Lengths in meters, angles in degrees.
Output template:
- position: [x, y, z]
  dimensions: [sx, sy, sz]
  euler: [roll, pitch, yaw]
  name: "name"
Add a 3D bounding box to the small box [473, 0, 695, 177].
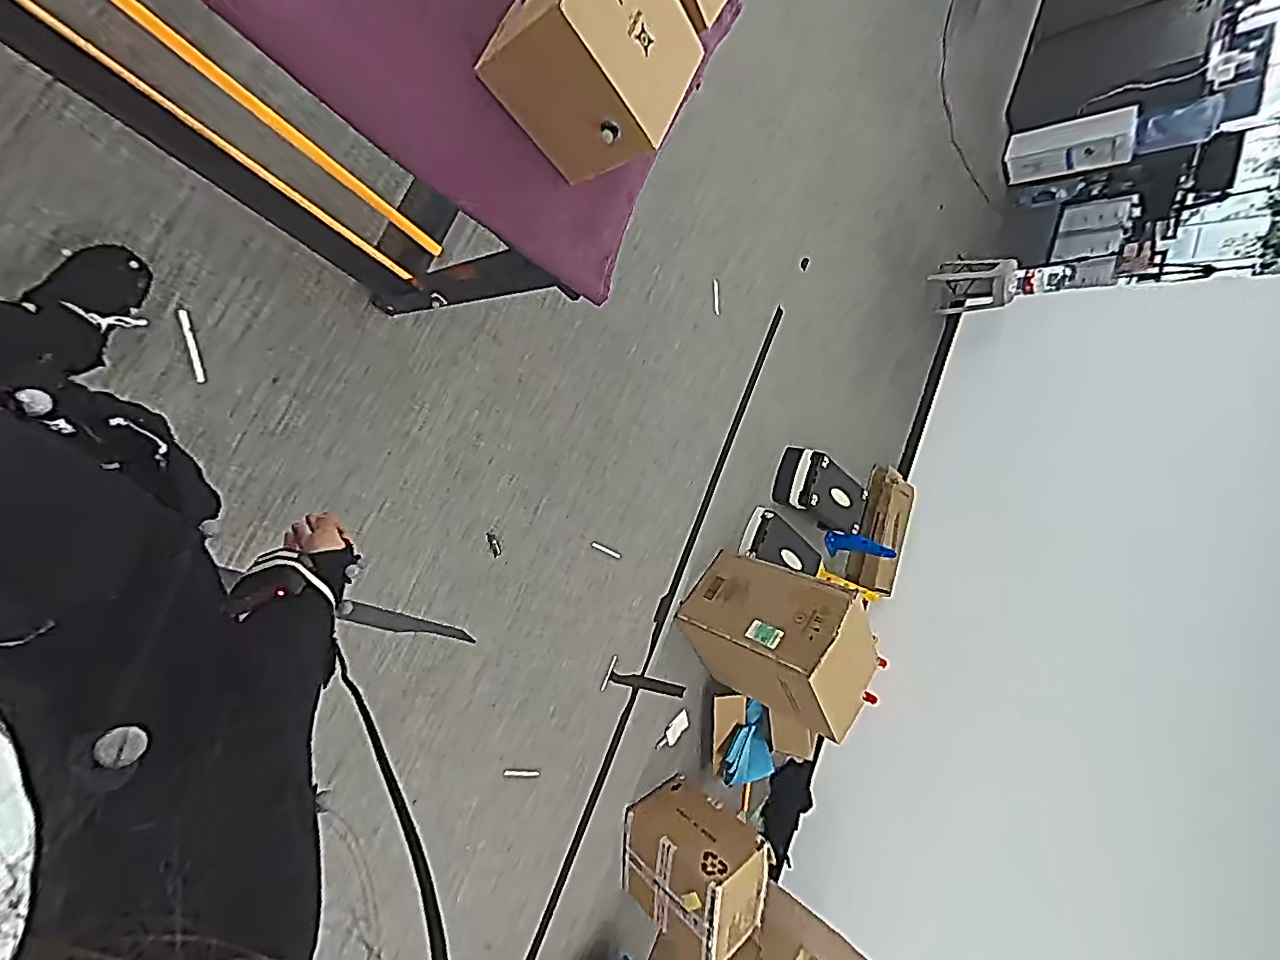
- position: [-0.067, -0.509, 0.667]
  dimensions: [0.179, 0.176, 0.168]
  euler: [36, 71, -43]
  name: "small box"
